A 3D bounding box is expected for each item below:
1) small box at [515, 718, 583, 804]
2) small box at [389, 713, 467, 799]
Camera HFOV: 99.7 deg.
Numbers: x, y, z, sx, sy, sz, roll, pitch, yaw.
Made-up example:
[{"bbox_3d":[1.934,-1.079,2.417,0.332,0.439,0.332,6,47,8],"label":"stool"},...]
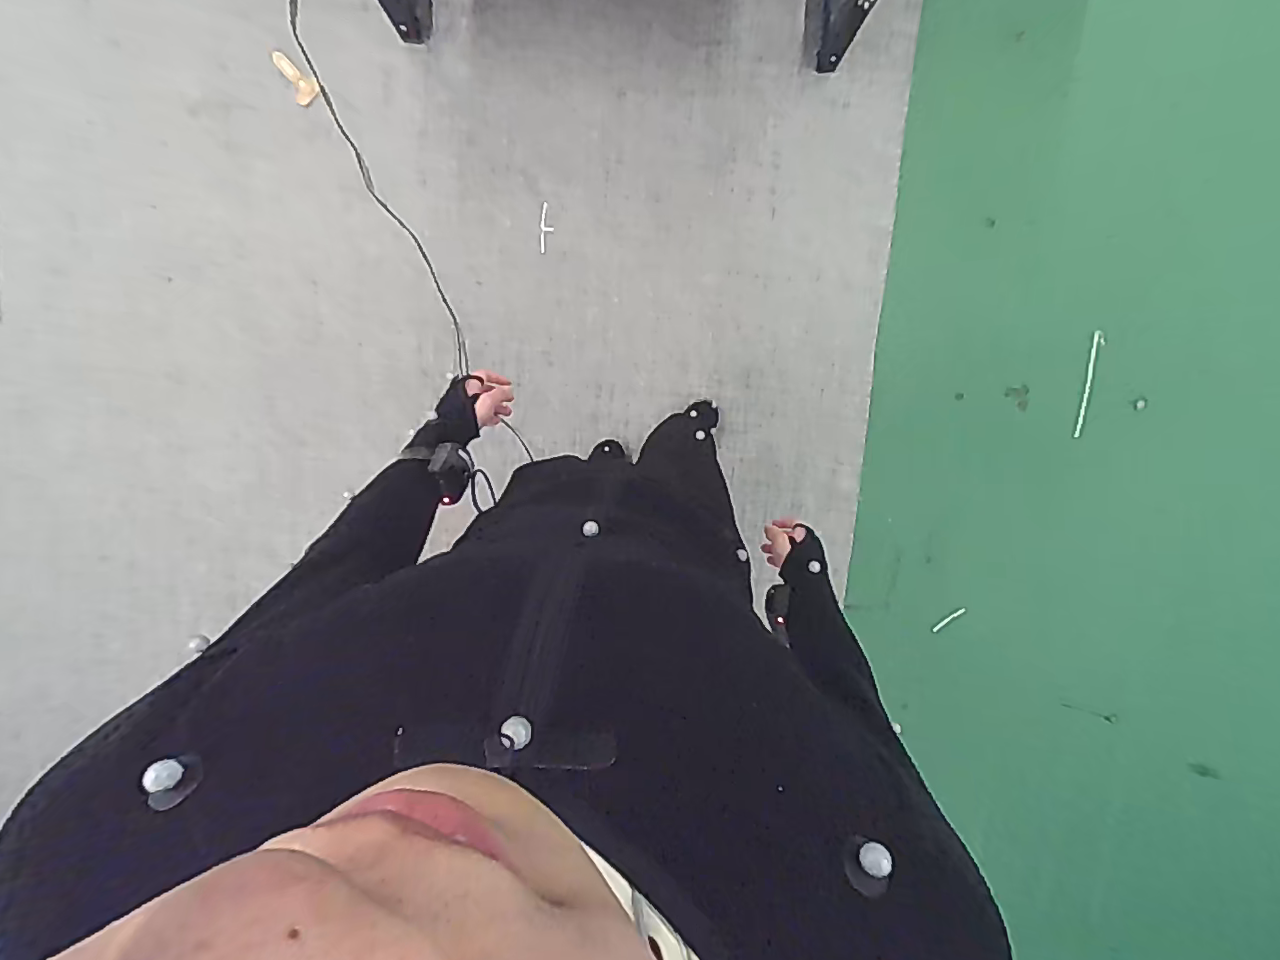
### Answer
[{"bbox_3d":[-0.270,0.842,1.633,0.179,0.176,0.168,5,98,-3],"label":"small box"},{"bbox_3d":[-0.627,0.820,1.618,0.179,0.176,0.168,4,97,-2],"label":"small box"}]
